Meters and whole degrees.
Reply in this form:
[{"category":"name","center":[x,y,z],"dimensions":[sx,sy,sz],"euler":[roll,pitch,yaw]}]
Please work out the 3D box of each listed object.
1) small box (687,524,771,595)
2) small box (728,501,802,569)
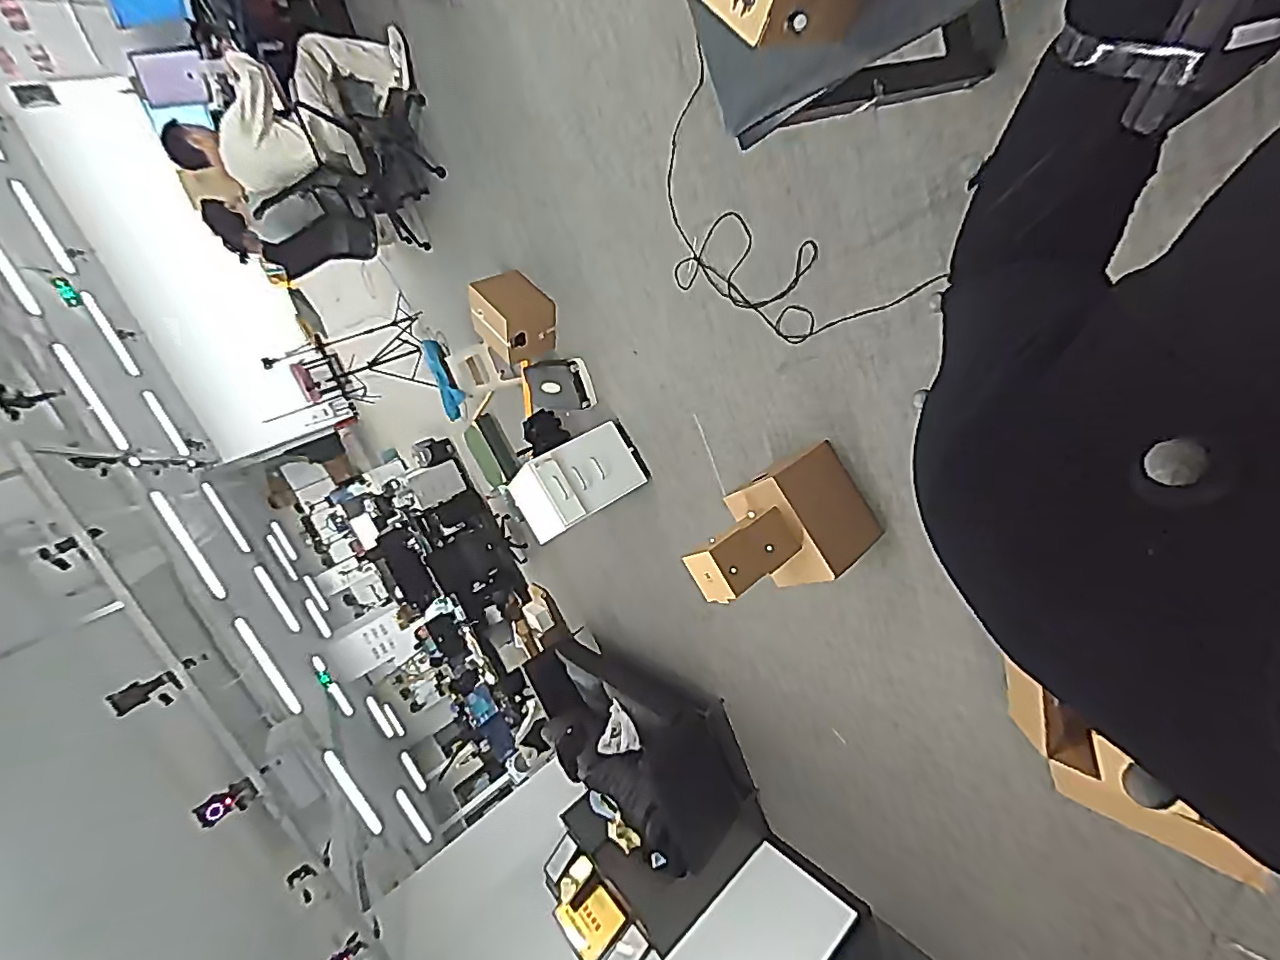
[{"category":"small box","center":[0.296,0.258,1.793],"dimensions":[0.179,0.176,0.168],"euler":[59,150,0]},{"category":"small box","center":[0.425,0.197,1.872],"dimensions":[0.179,0.176,0.168],"euler":[60,151,1]}]
